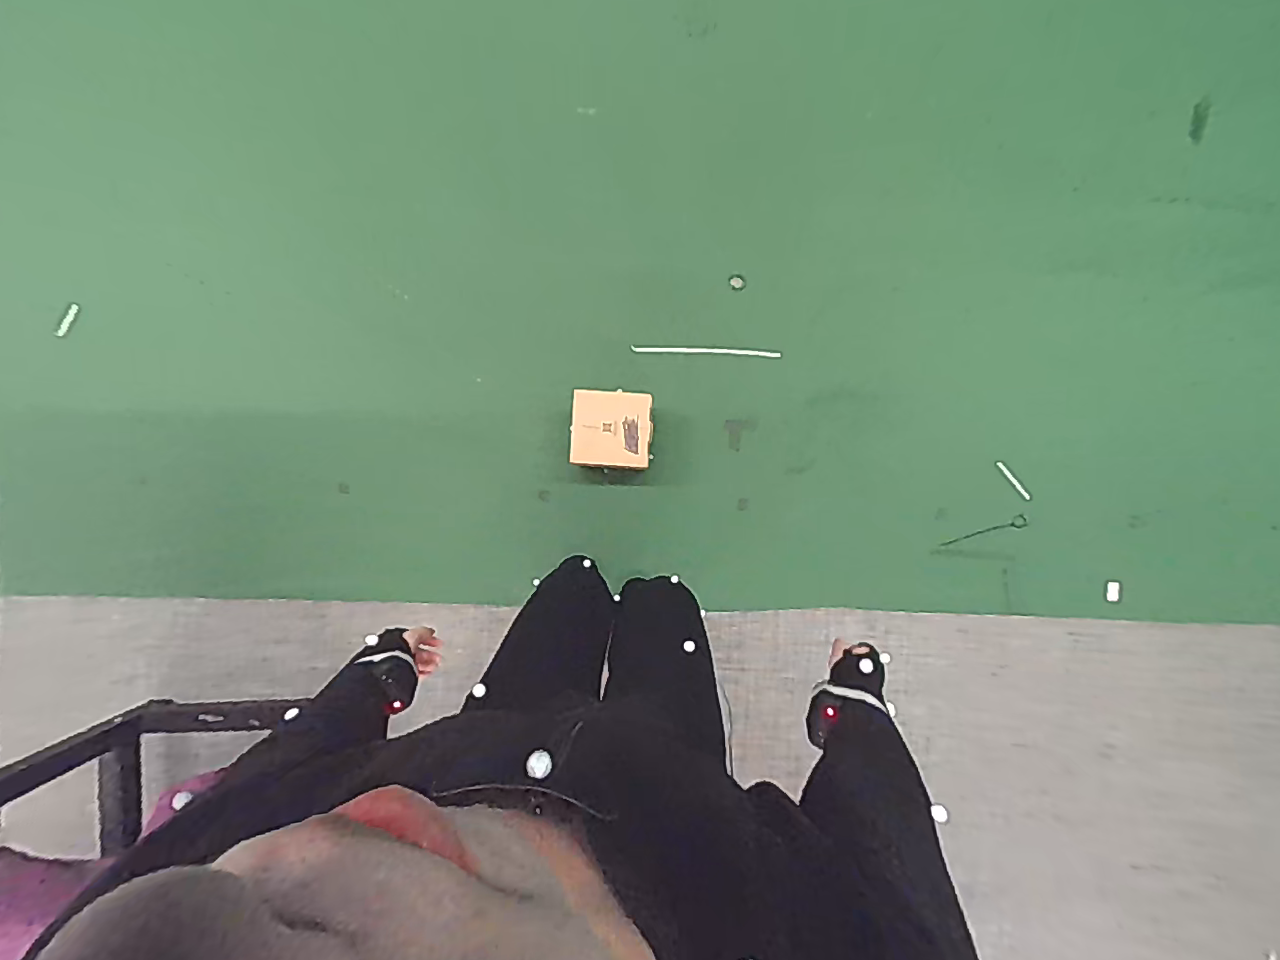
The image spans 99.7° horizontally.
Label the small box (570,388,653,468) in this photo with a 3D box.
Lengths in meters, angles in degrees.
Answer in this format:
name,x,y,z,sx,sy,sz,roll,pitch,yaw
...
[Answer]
name,x,y,z,sx,sy,sz,roll,pitch,yaw
small box,-0.063,-0.117,1.275,0.179,0.176,0.168,4,89,1
